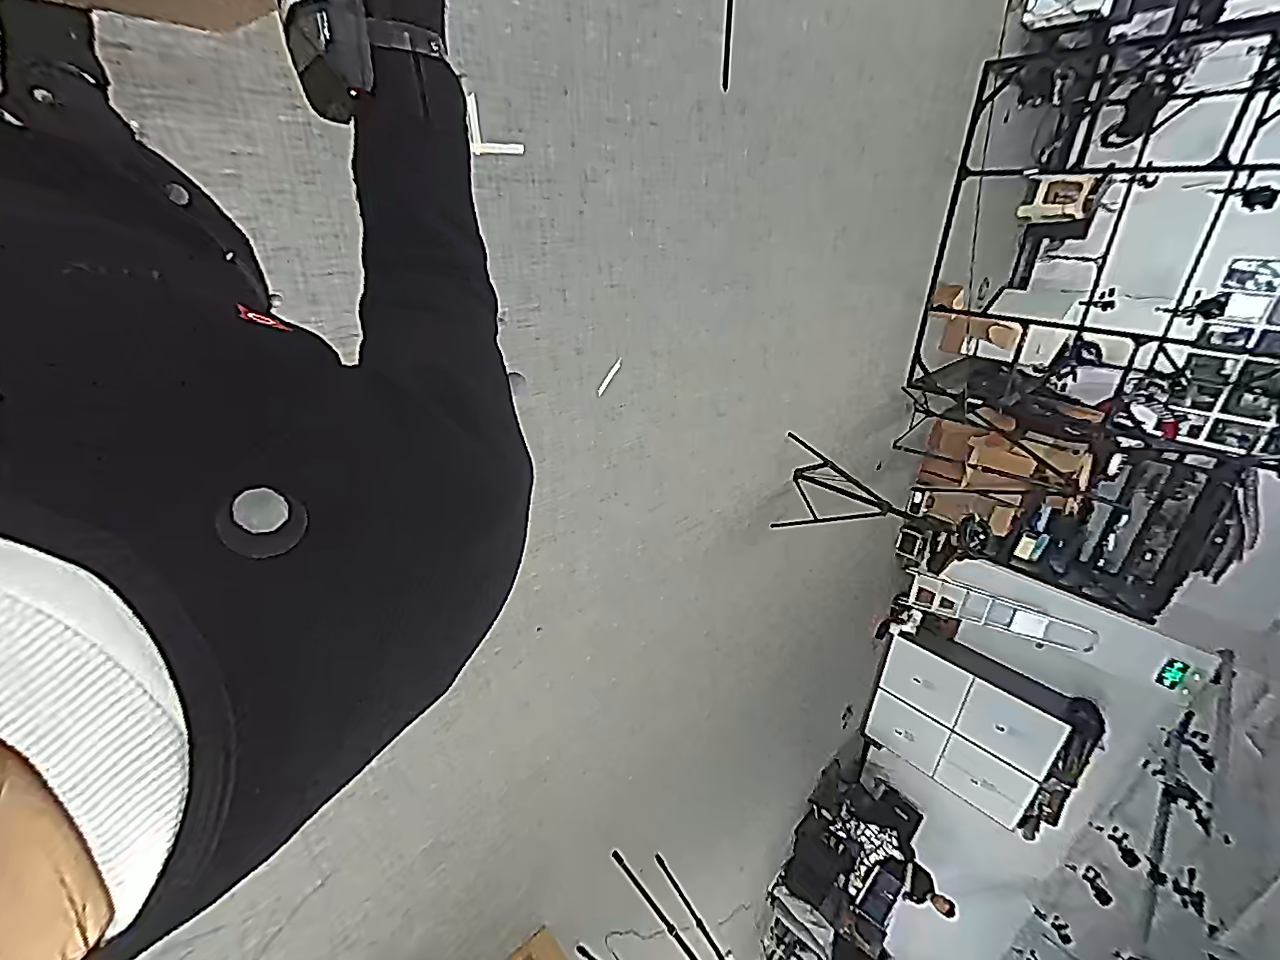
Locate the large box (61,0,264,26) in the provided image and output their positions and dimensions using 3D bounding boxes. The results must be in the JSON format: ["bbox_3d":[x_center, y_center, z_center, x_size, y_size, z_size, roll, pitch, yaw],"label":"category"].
[{"bbox_3d":[-0.432,-0.441,0.227,0.408,0.320,0.320,-21,130,-38],"label":"large box"}]
